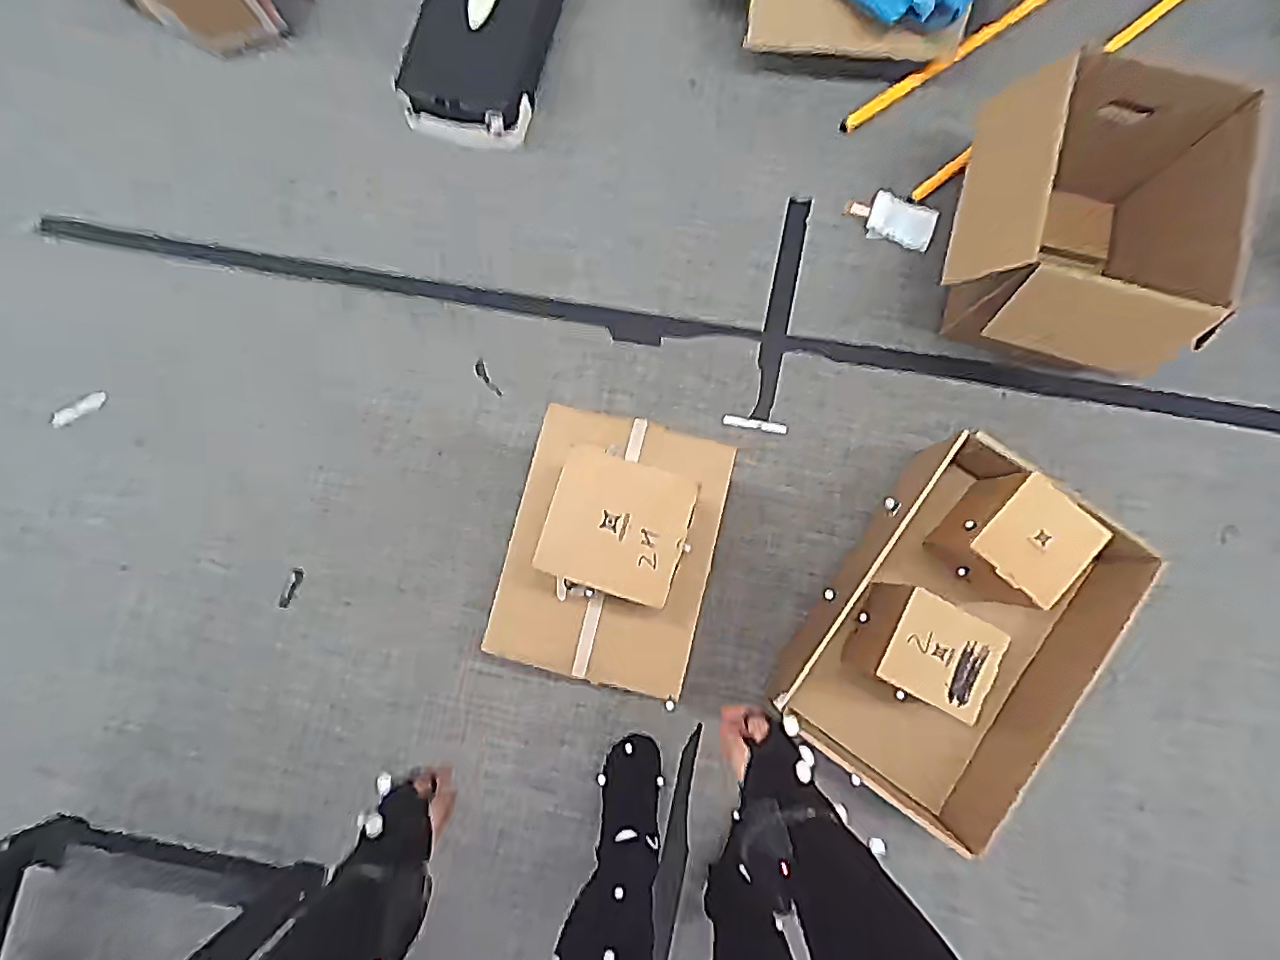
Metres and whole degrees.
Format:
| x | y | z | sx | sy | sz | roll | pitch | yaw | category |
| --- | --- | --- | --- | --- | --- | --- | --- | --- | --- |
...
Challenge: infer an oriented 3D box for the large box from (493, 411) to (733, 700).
| x | y | z | sx | sy | sz | roll | pitch | yaw | category |
| --- | --- | --- | --- | --- | --- | --- | --- | --- | --- |
| -0.033 | 0.124 | 0.989 | 0.320 | 0.320 | 0.408 | 12 | 84 | 5 | large box |

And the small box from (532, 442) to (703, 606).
| x | y | z | sx | sy | sz | roll | pitch | yaw | category |
| --- | --- | --- | --- | --- | --- | --- | --- | --- | --- |
| -0.025 | 0.063 | 0.748 | 0.179 | 0.176 | 0.168 | 17 | 84 | 4 | small box |
